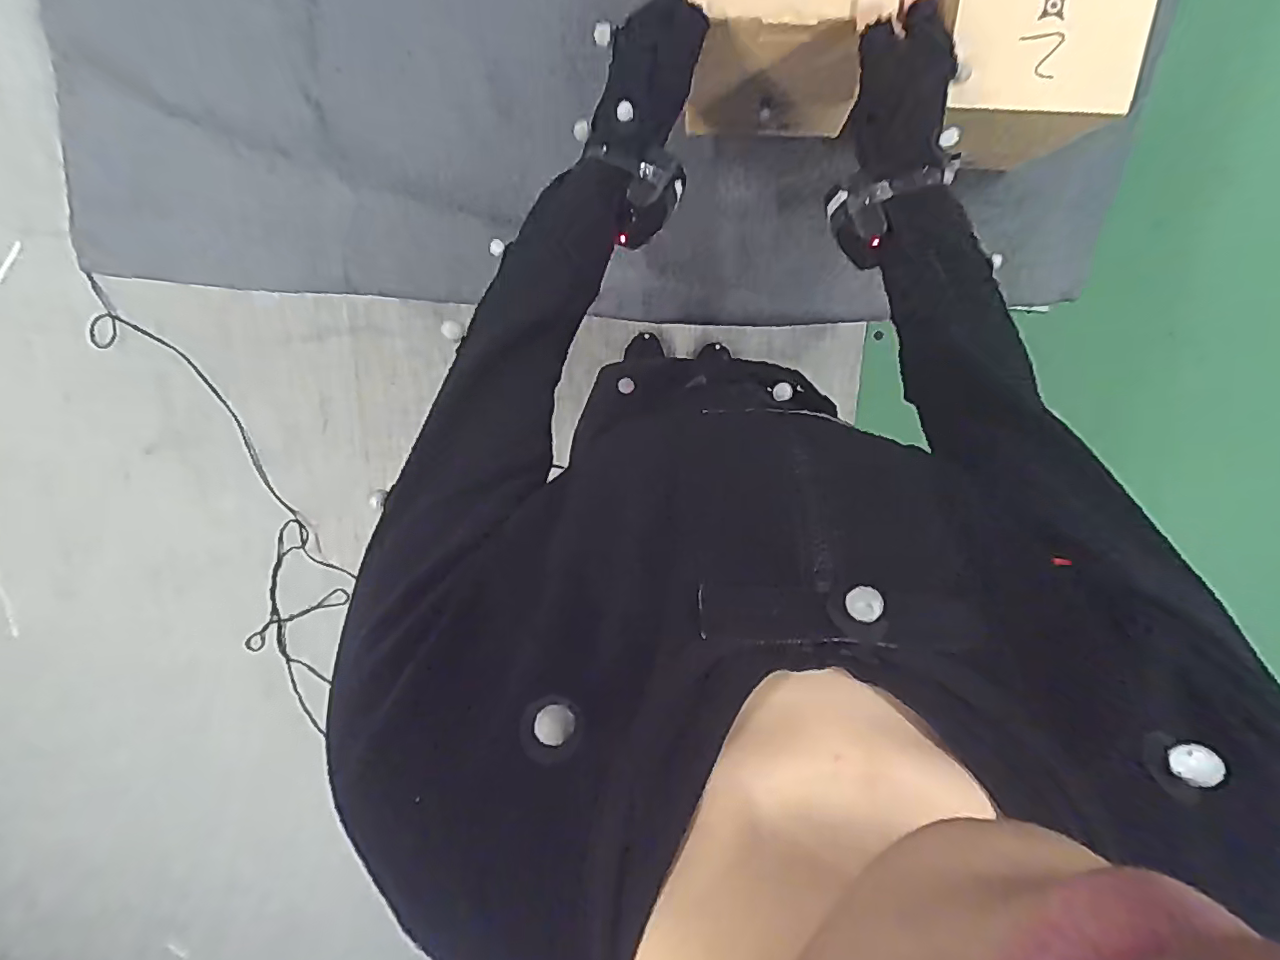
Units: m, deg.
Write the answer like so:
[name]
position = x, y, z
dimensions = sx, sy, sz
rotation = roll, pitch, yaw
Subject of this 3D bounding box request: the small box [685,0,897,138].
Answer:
[small box]
position = 0.129, -0.453, 0.496
dimensions = 0.168, 0.176, 0.179
rotation = 4, 94, 5
